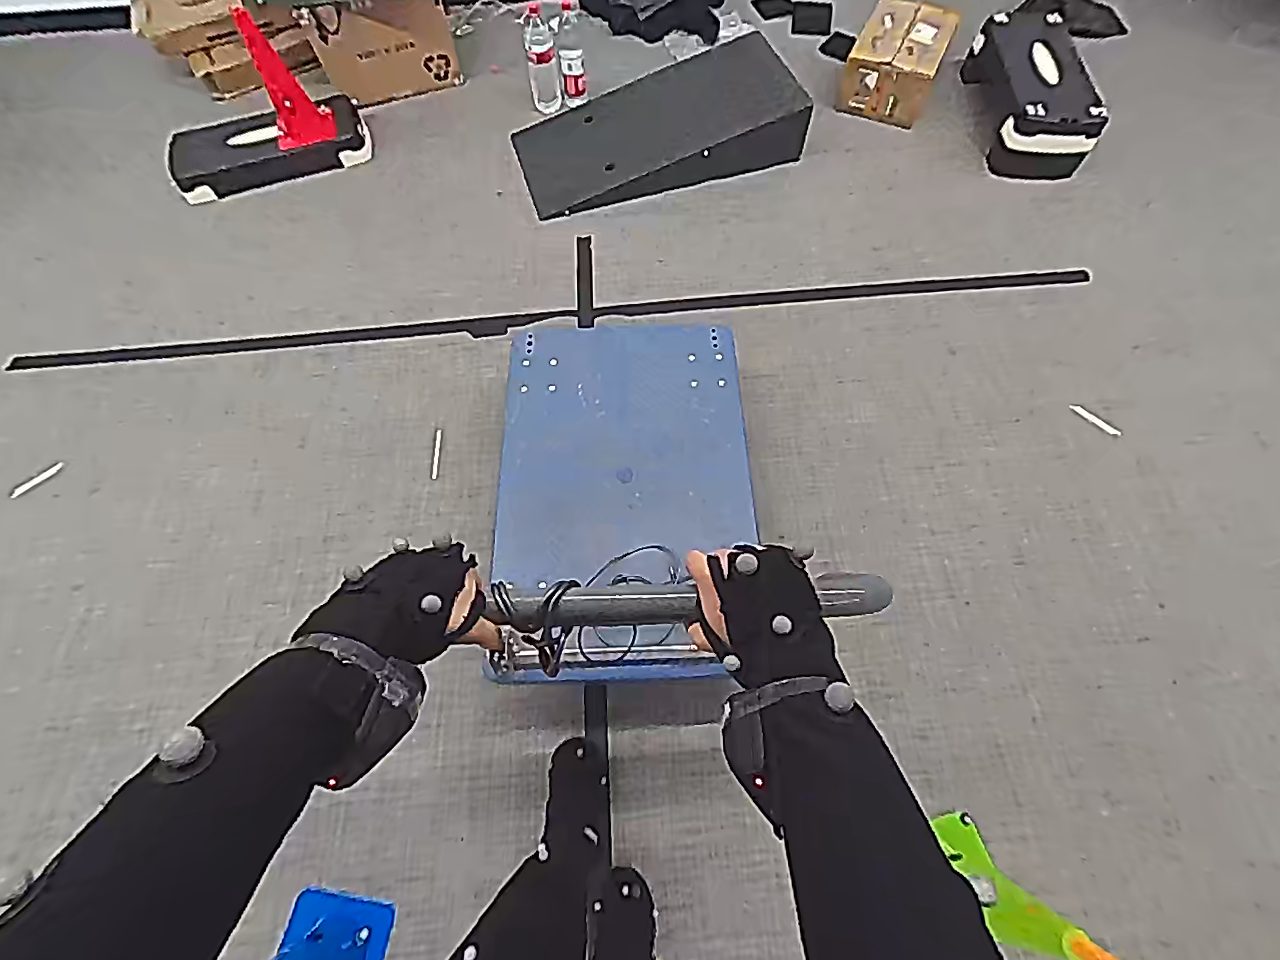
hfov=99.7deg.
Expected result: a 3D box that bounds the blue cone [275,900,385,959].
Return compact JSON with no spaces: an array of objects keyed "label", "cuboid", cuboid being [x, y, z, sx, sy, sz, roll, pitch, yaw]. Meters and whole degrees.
[{"label":"blue cone","cuboid":[-0.584,0.829,0.846,0.193,0.380,0.192,10,66,6]}]

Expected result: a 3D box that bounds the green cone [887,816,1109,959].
[{"label":"green cone","cuboid":[0.591,0.701,0.867,0.200,0.368,0.202,-16,66,-6]}]
